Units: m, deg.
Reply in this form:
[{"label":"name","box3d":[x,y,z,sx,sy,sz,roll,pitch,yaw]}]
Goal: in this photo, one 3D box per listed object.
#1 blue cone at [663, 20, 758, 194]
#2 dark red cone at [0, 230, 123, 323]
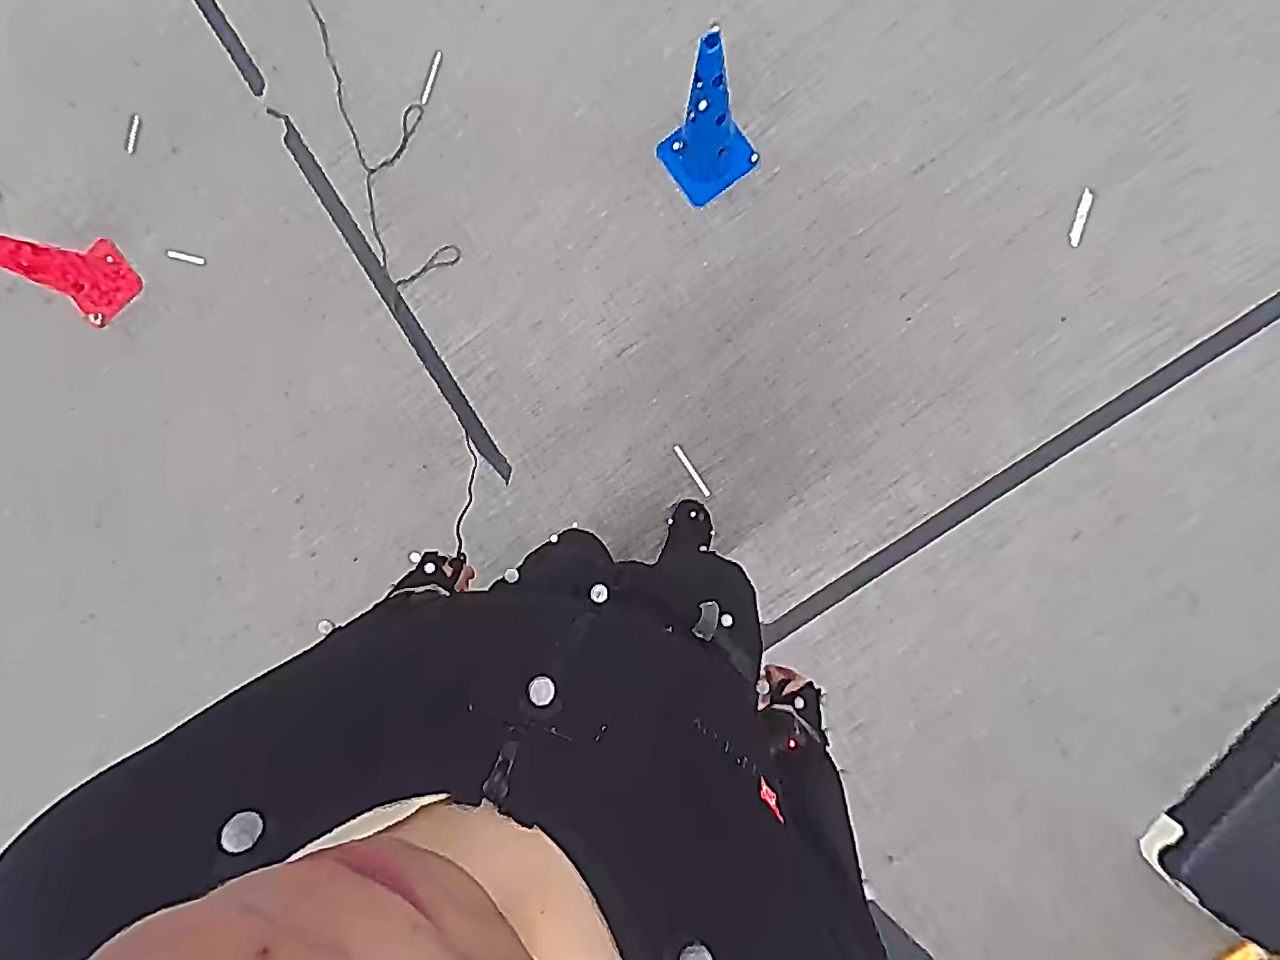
[{"label":"blue cone","box3d":[0.156,-0.829,1.186,0.192,0.380,0.193,-33,86,4]},{"label":"dark red cone","box3d":[-1.577,-0.569,1.355,0.201,0.394,0.202,-42,85,4]}]
